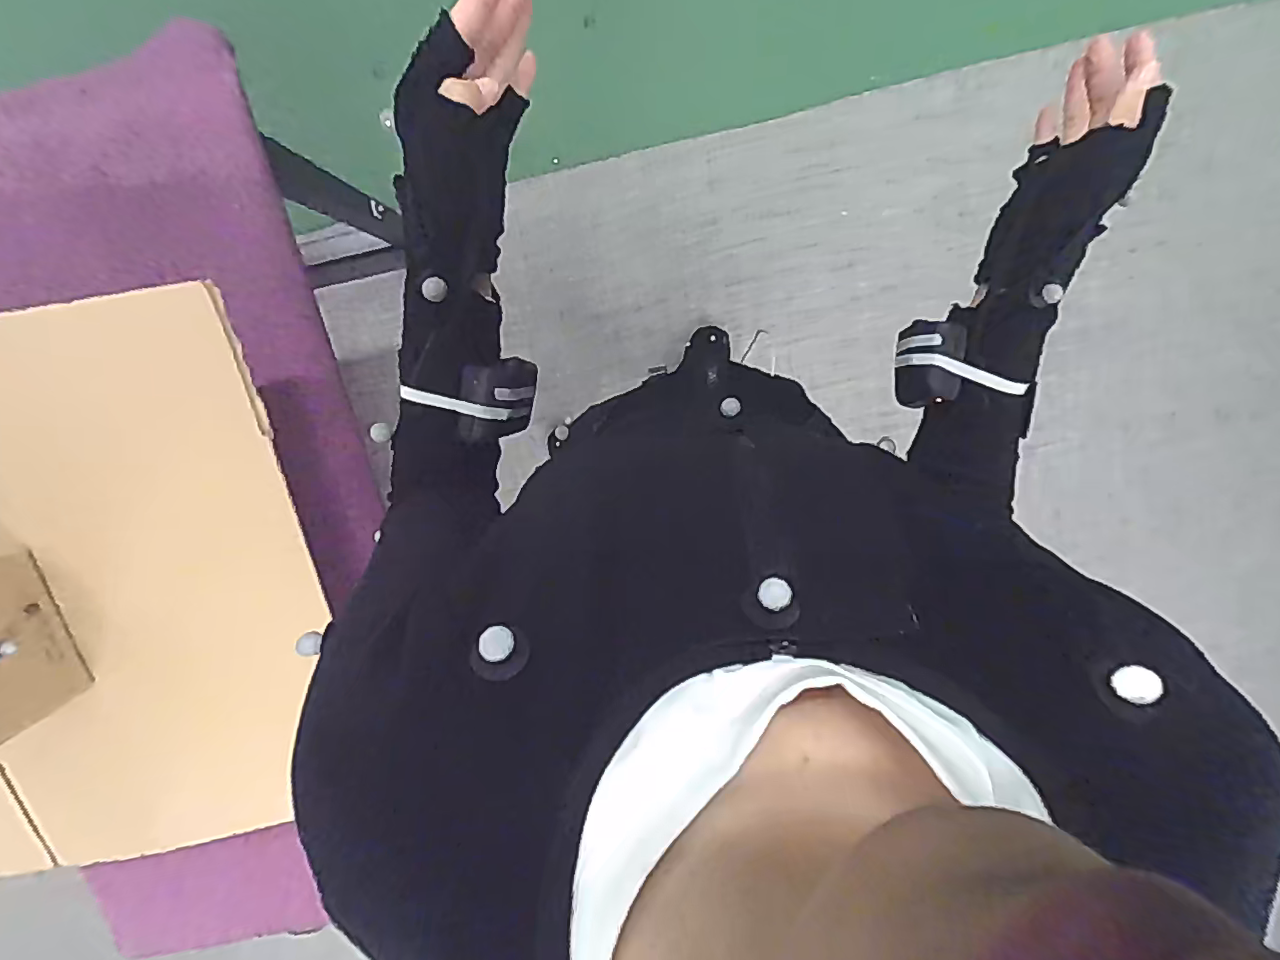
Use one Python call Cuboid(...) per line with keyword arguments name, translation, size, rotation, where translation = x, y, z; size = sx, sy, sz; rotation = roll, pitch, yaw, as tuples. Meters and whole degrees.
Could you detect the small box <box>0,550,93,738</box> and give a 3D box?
Cuboid(name="small box", translation=(-0.688, 0.179, 0.497), size=(0.179, 0.176, 0.168), rotation=(-10, 104, 2))
